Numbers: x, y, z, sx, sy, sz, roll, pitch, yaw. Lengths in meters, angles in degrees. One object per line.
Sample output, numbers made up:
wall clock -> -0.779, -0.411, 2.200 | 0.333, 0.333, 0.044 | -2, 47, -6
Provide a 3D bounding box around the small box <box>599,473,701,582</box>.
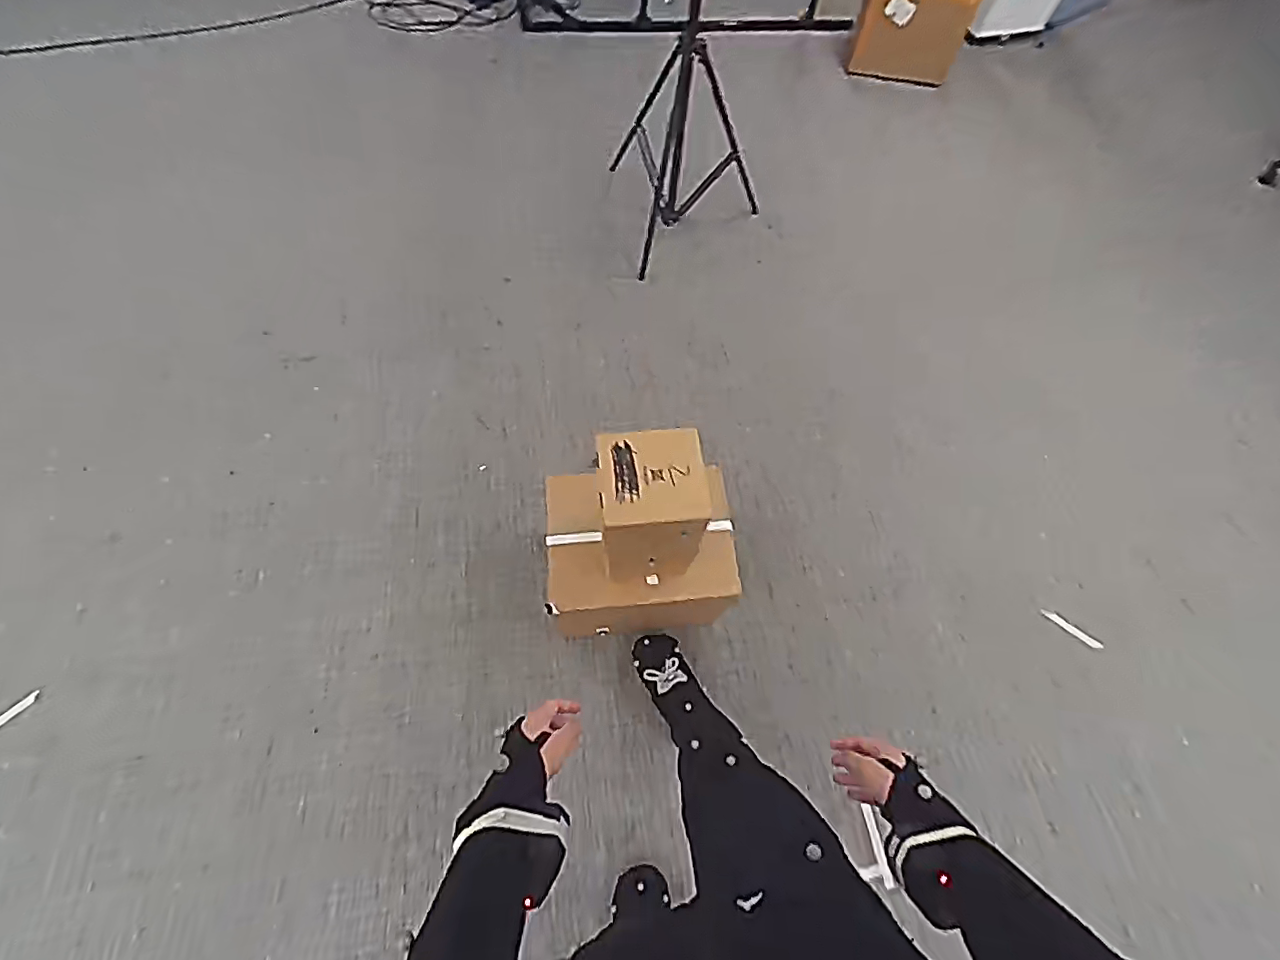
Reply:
small box -> 0.013, 0.102, 1.096 | 0.179, 0.176, 0.168 | -6, 66, -7
